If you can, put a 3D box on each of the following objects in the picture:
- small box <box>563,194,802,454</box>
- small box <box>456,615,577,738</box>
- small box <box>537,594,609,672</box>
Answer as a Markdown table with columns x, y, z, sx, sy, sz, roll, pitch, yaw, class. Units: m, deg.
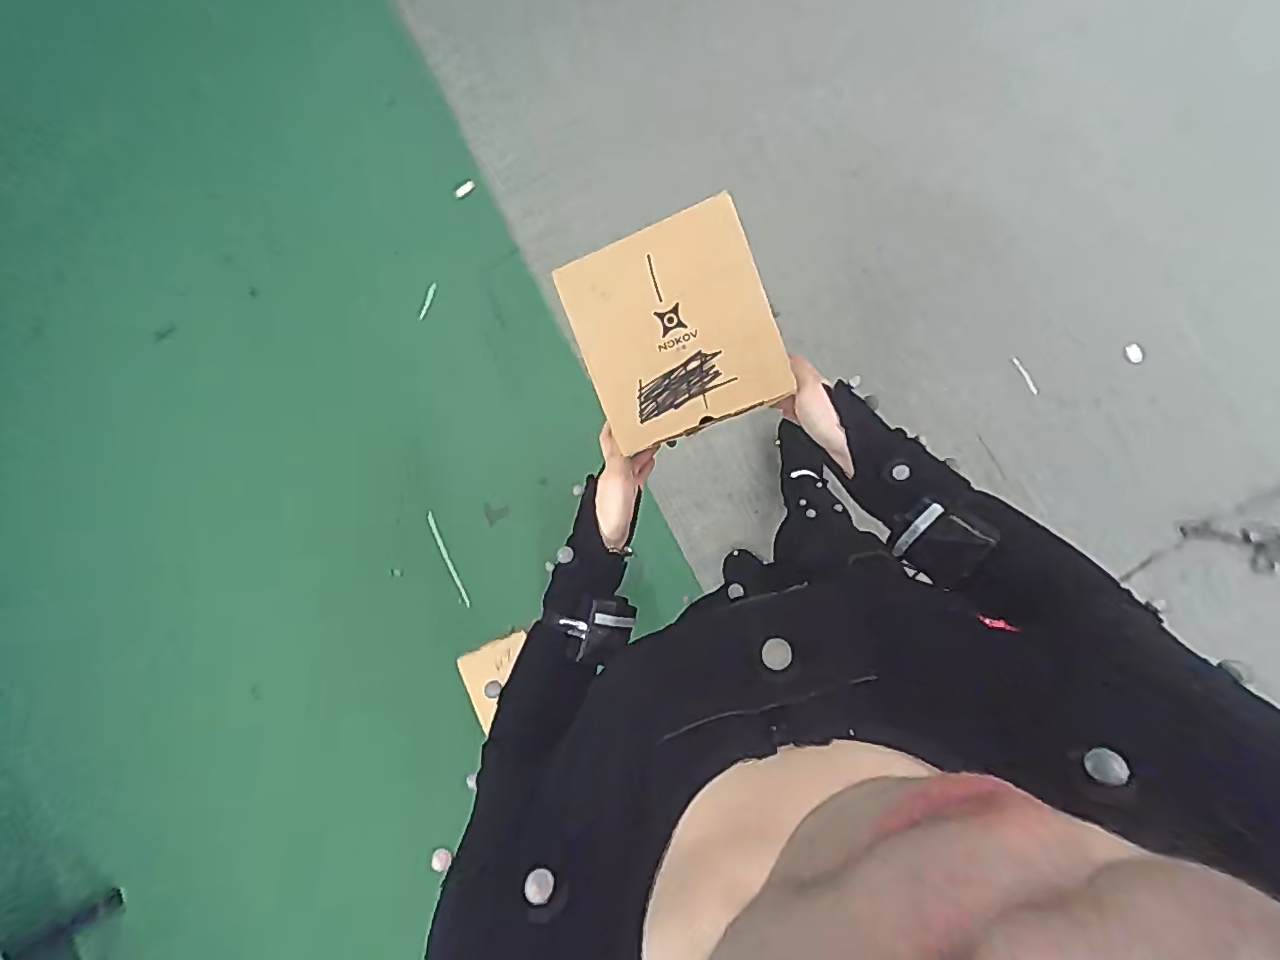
| x | y | z | sx | sy | sz | roll | pitch | yaw | class |
| --- | --- | --- | --- | --- | --- | --- | --- | --- | --- |
| 0.048 | -0.141 | 0.536 | 0.168 | 0.176 | 0.179 | -18 | 96 | 11 | small box |
| -0.257 | 0.416 | 1.168 | 0.168 | 0.176 | 0.179 | -25 | 84 | 9 | small box |
| -0.198 | 0.431 | 1.492 | 0.179 | 0.176 | 0.168 | -28 | 84 | 9 | small box |
